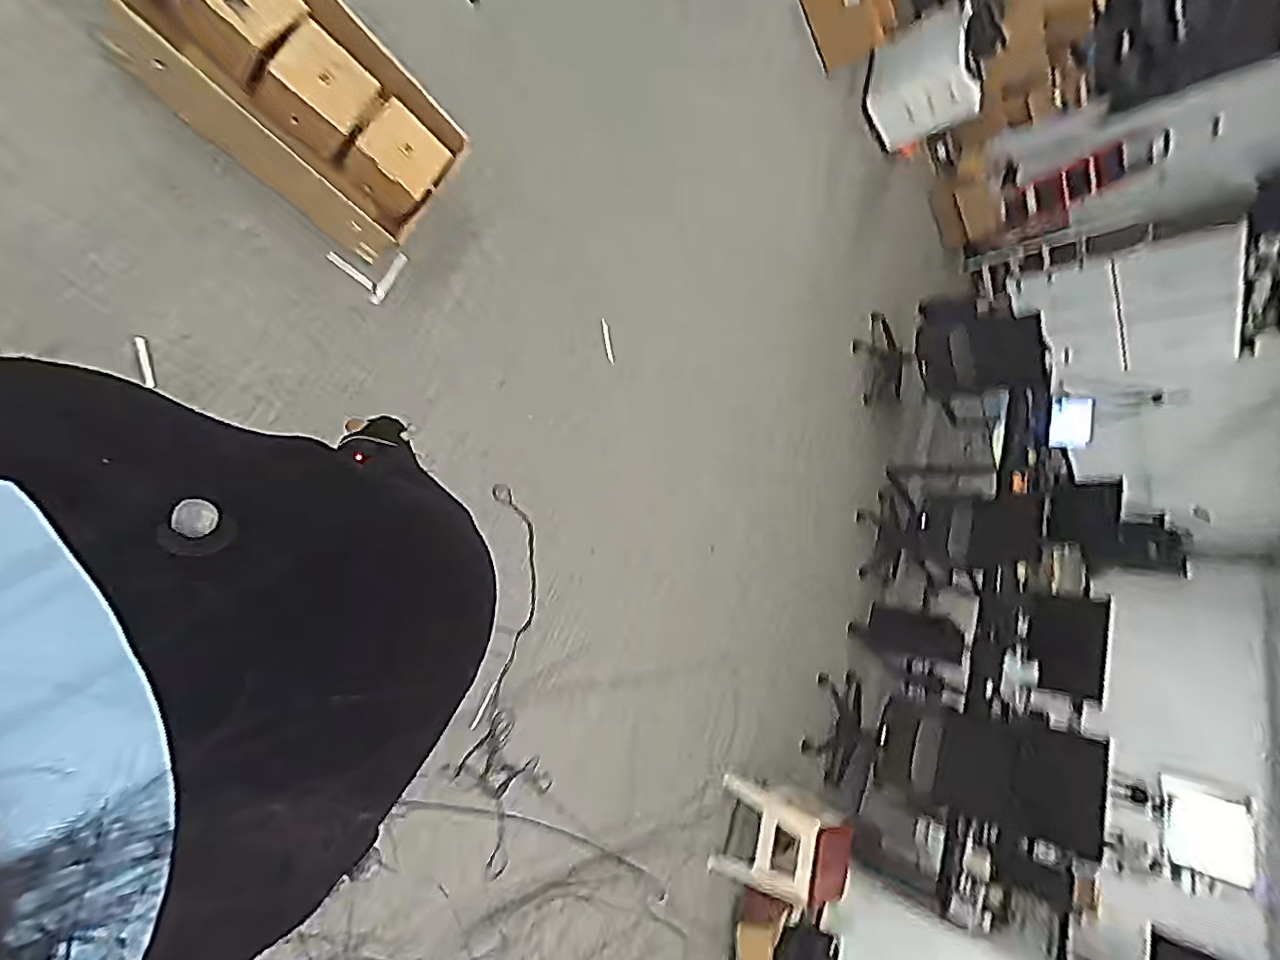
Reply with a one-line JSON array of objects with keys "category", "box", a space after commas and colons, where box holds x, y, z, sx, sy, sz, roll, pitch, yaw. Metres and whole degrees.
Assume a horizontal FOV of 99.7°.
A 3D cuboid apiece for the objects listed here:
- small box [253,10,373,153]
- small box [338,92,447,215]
[{"category": "small box", "box": [-0.758, -0.905, 1.247, 0.168, 0.176, 0.179, 35, 66, -40]}, {"category": "small box", "box": [-0.631, -0.817, 1.370, 0.168, 0.176, 0.179, 37, 66, -35]}]
